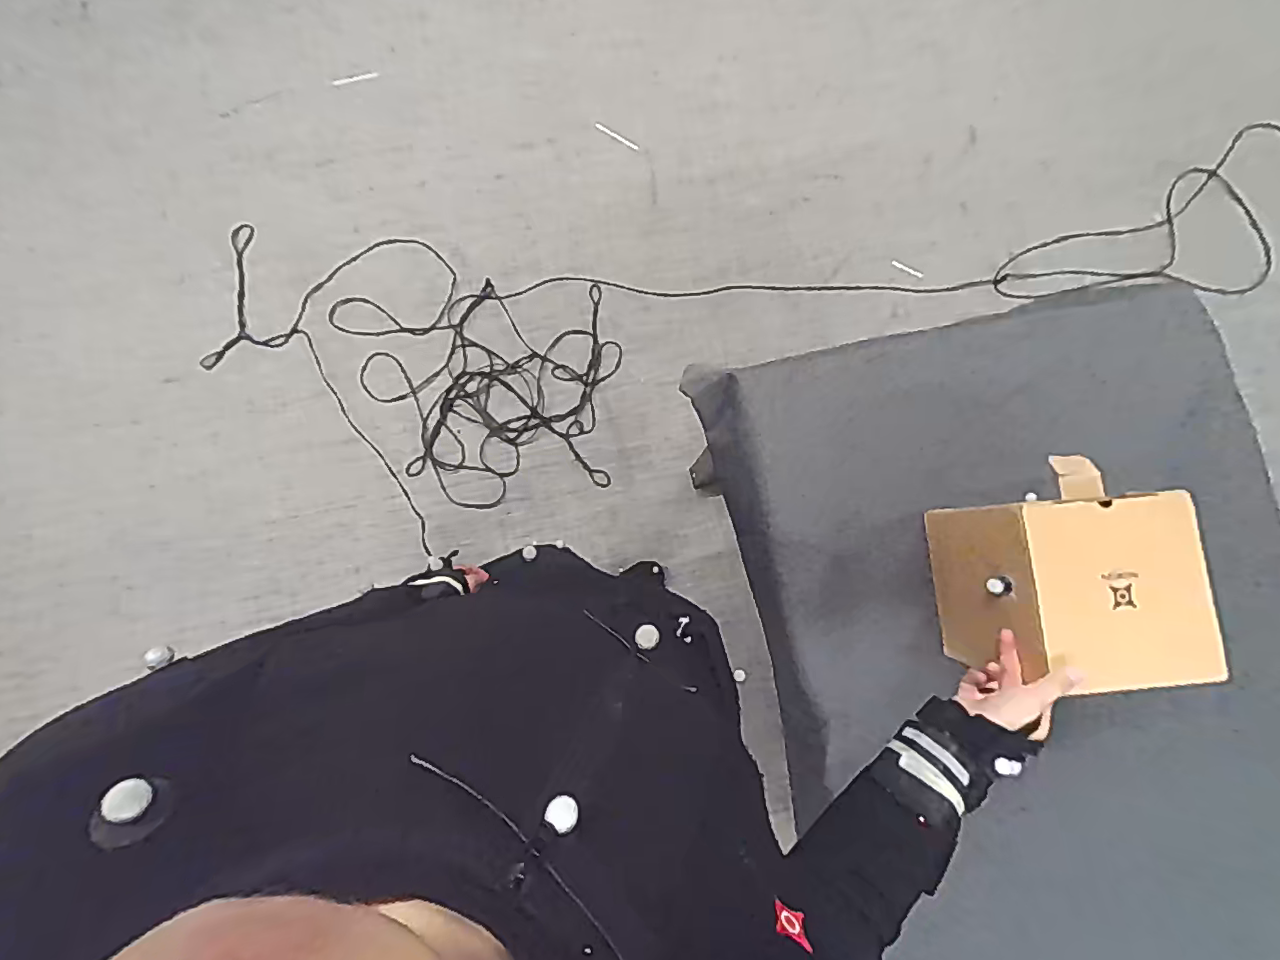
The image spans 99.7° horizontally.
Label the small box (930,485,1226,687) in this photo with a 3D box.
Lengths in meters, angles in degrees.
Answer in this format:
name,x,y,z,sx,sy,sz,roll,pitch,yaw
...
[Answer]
name,x,y,z,sx,sy,sz,roll,pitch,yaw
small box,0.443,0.105,0.578,0.168,0.176,0.179,-5,83,-2
